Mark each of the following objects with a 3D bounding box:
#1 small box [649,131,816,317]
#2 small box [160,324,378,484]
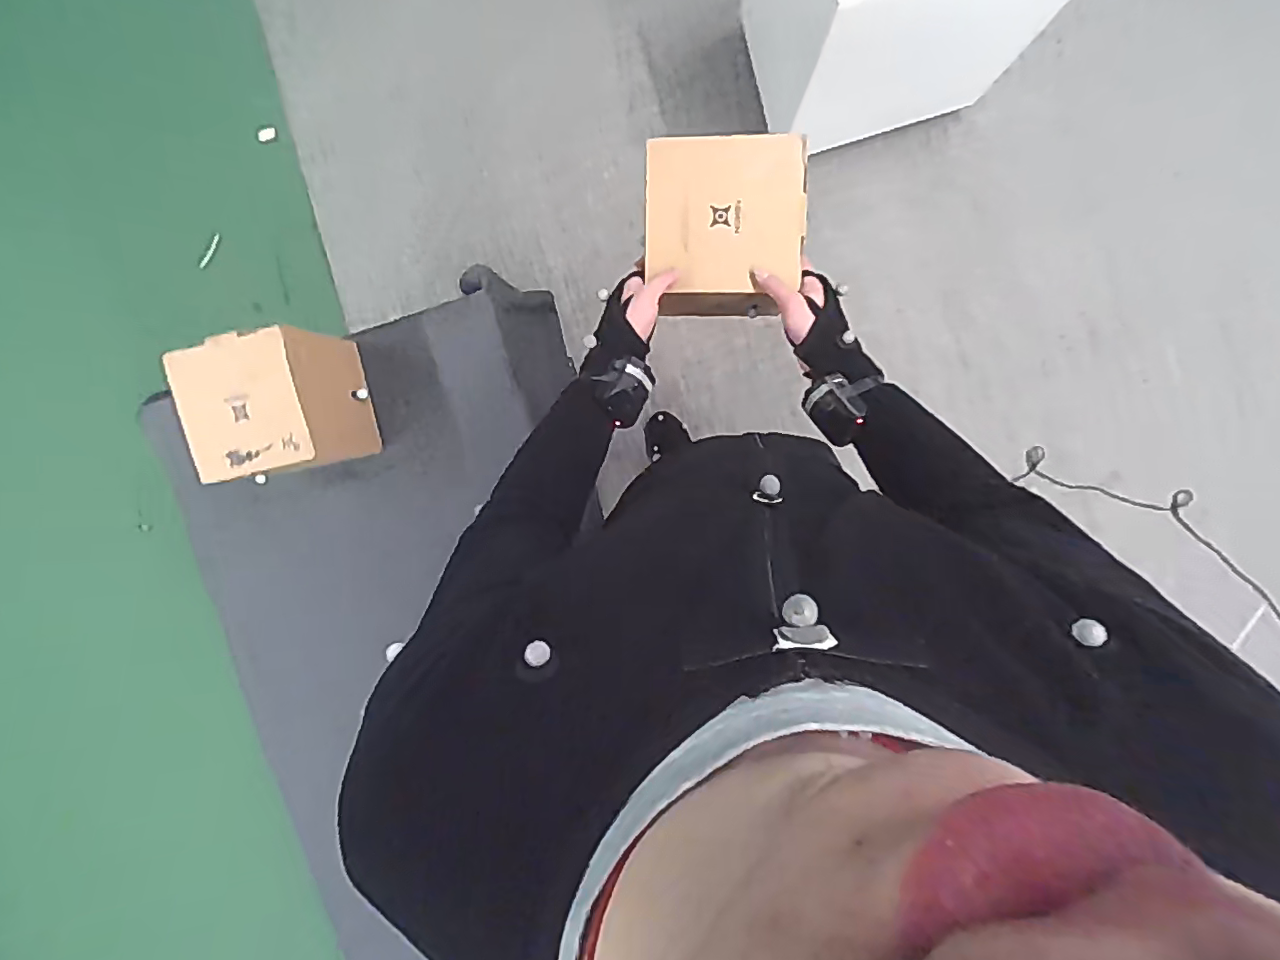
[{"bbox_3d":[0.104,-0.299,0.663,0.179,0.176,0.168,1,98,5],"label":"small box"},{"bbox_3d":[-0.504,-0.102,0.761,0.168,0.176,0.179,-12,96,4],"label":"small box"}]
